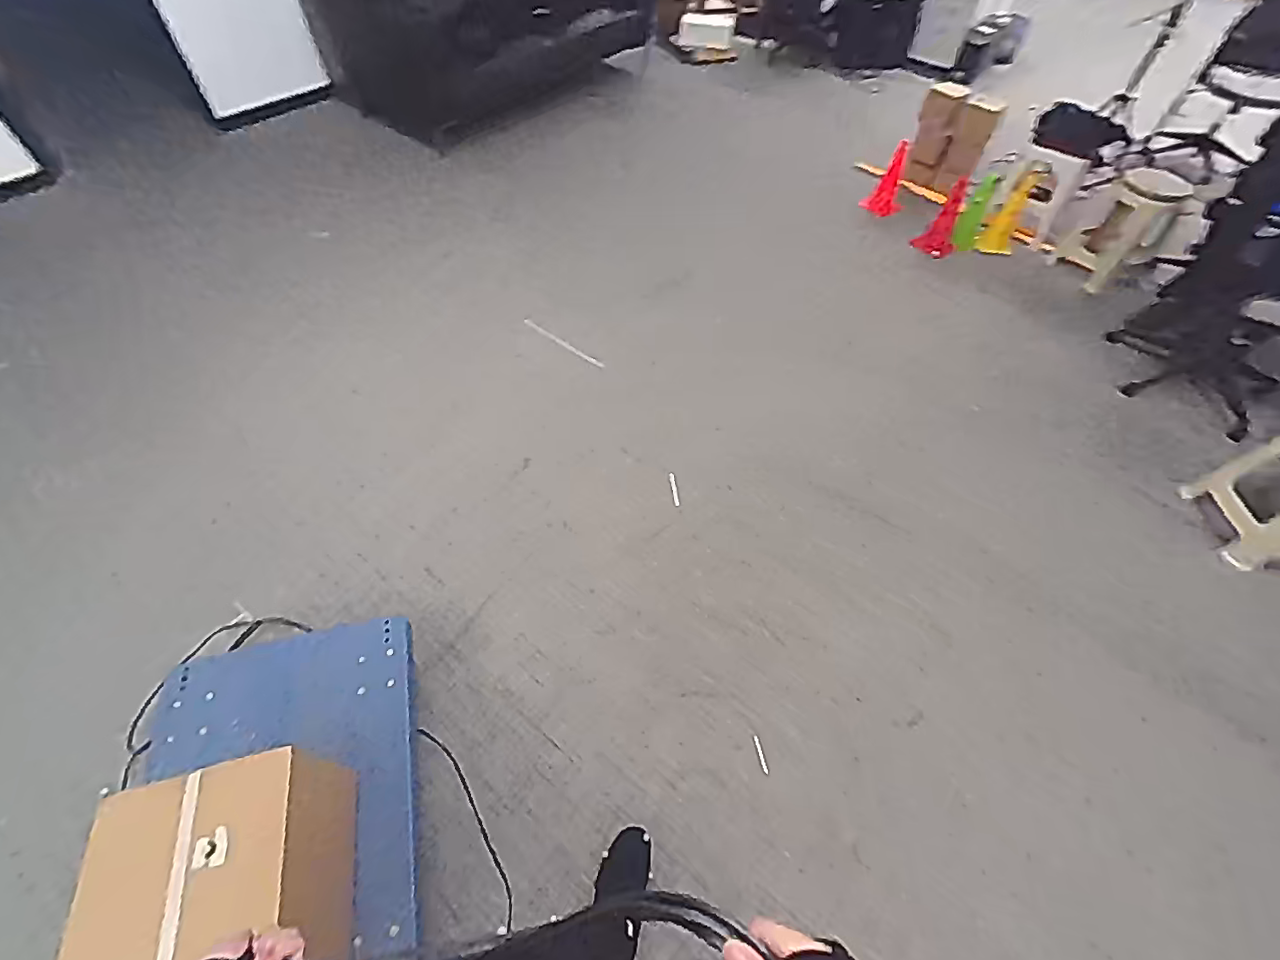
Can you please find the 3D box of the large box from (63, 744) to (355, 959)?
[{"bbox_3d":[-0.735,0.761,0.975,0.320,0.320,0.408,-12,54,-11],"label":"large box"}]
